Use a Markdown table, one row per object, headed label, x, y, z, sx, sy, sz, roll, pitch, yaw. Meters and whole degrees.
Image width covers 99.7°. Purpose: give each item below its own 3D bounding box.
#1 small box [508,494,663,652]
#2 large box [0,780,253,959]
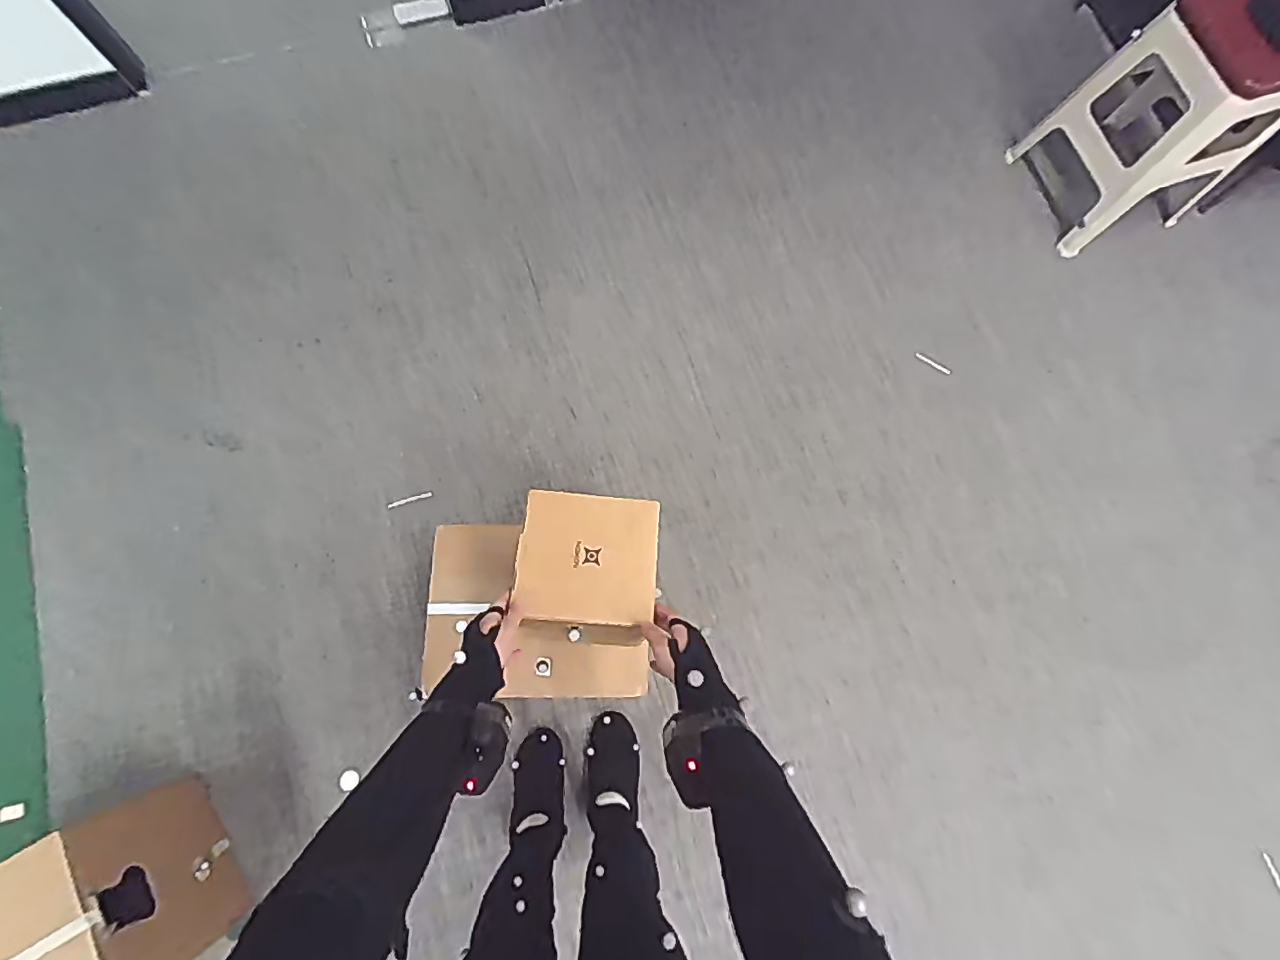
| label | x | y | z | sx | sy | sz | roll | pitch | yaw |
| --- | --- | --- | --- | --- | --- | --- | --- | --- | --- |
| small box | -0.070 | 0.135 | 0.743 | 0.179 | 0.176 | 0.168 | 6 | 63 | -2 |
| large box | -1.042 | 0.840 | 0.982 | 0.408 | 0.320 | 0.320 | -30 | 78 | -7 |
